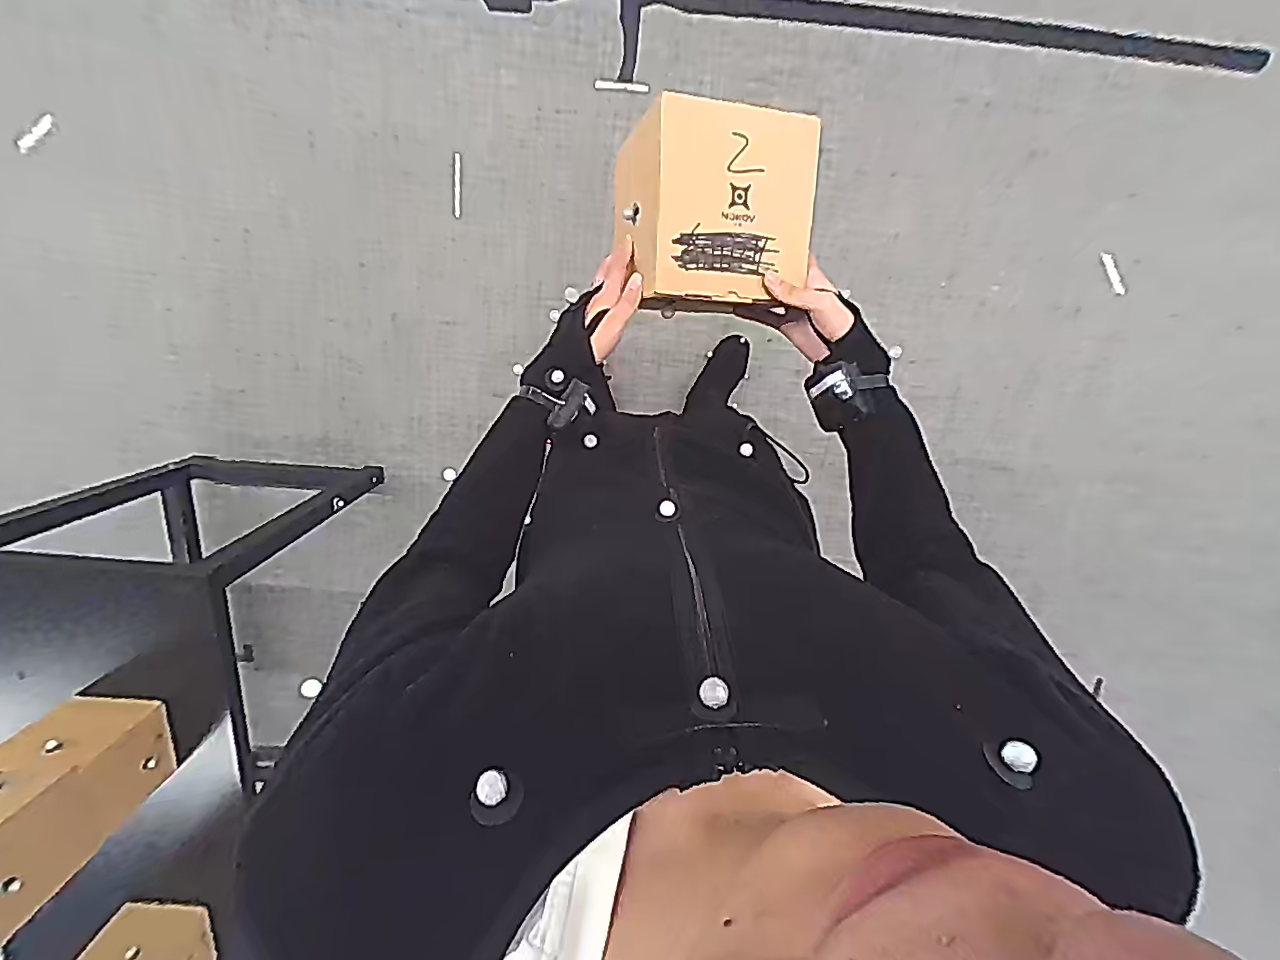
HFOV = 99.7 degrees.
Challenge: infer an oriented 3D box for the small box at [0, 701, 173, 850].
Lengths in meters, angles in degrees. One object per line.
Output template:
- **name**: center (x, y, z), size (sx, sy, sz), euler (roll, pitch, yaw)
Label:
- **small box**: center (-1.002, 0.520, 0.969), size (0.179, 0.176, 0.168), euler (4, 107, -2)

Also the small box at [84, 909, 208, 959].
- **small box**: center (-1.042, 1.034, 1.121), size (0.179, 0.176, 0.168), euler (3, 106, -2)

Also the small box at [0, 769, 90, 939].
- **small box**: center (-0.995, 0.568, 0.811), size (0.168, 0.176, 0.179), euler (1, 106, -1)
